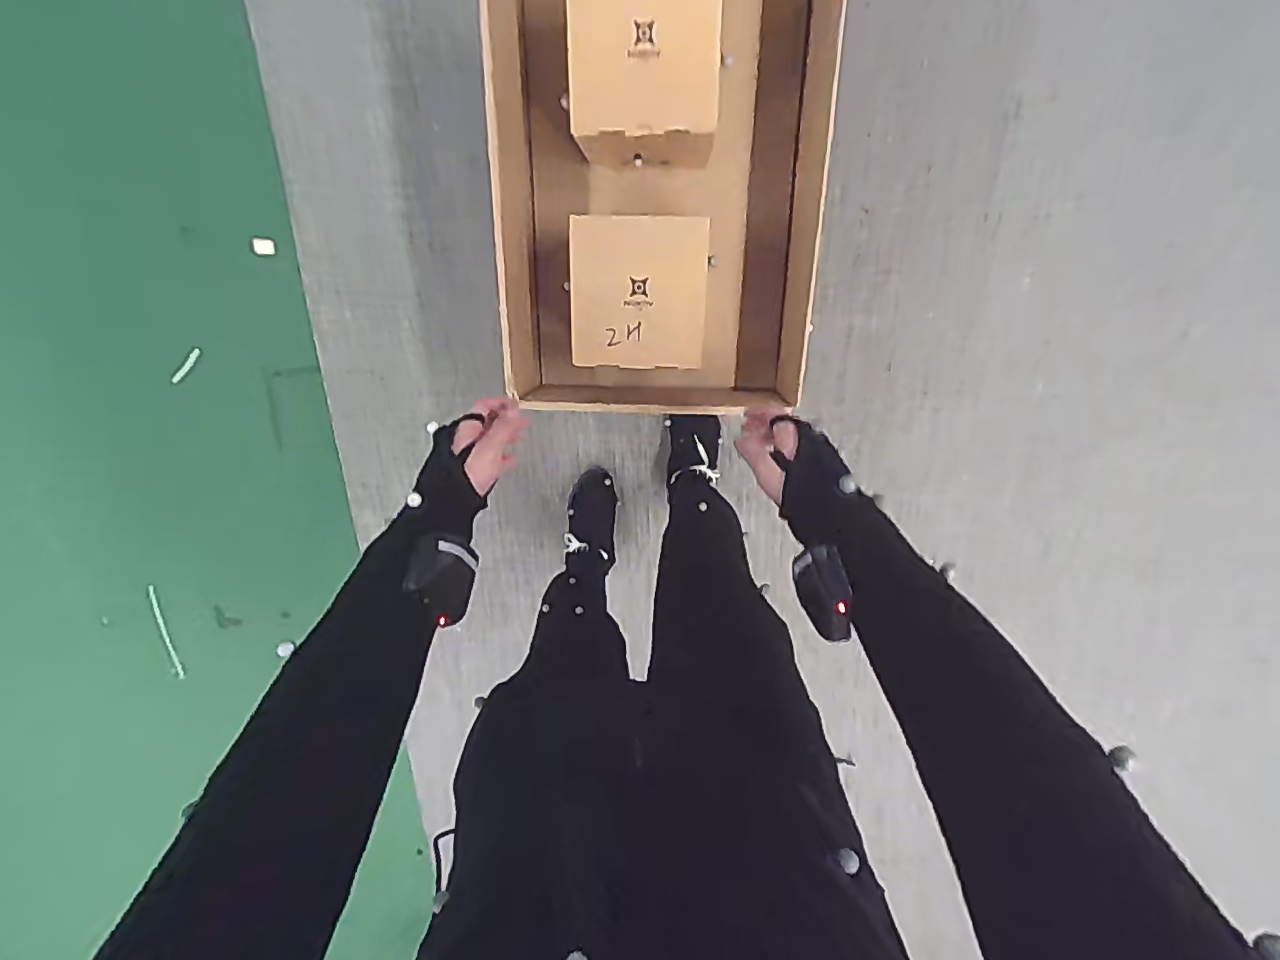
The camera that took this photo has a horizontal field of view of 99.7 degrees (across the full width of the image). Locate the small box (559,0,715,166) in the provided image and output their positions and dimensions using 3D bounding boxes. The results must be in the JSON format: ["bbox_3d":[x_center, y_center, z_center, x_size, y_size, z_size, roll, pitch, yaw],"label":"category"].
[{"bbox_3d":[-0.001,-0.494,0.648,0.168,0.176,0.179,0,110,3],"label":"small box"}]

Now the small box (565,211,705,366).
[{"bbox_3d":[-0.004,-0.250,0.725,0.168,0.176,0.179,2,108,4],"label":"small box"}]
